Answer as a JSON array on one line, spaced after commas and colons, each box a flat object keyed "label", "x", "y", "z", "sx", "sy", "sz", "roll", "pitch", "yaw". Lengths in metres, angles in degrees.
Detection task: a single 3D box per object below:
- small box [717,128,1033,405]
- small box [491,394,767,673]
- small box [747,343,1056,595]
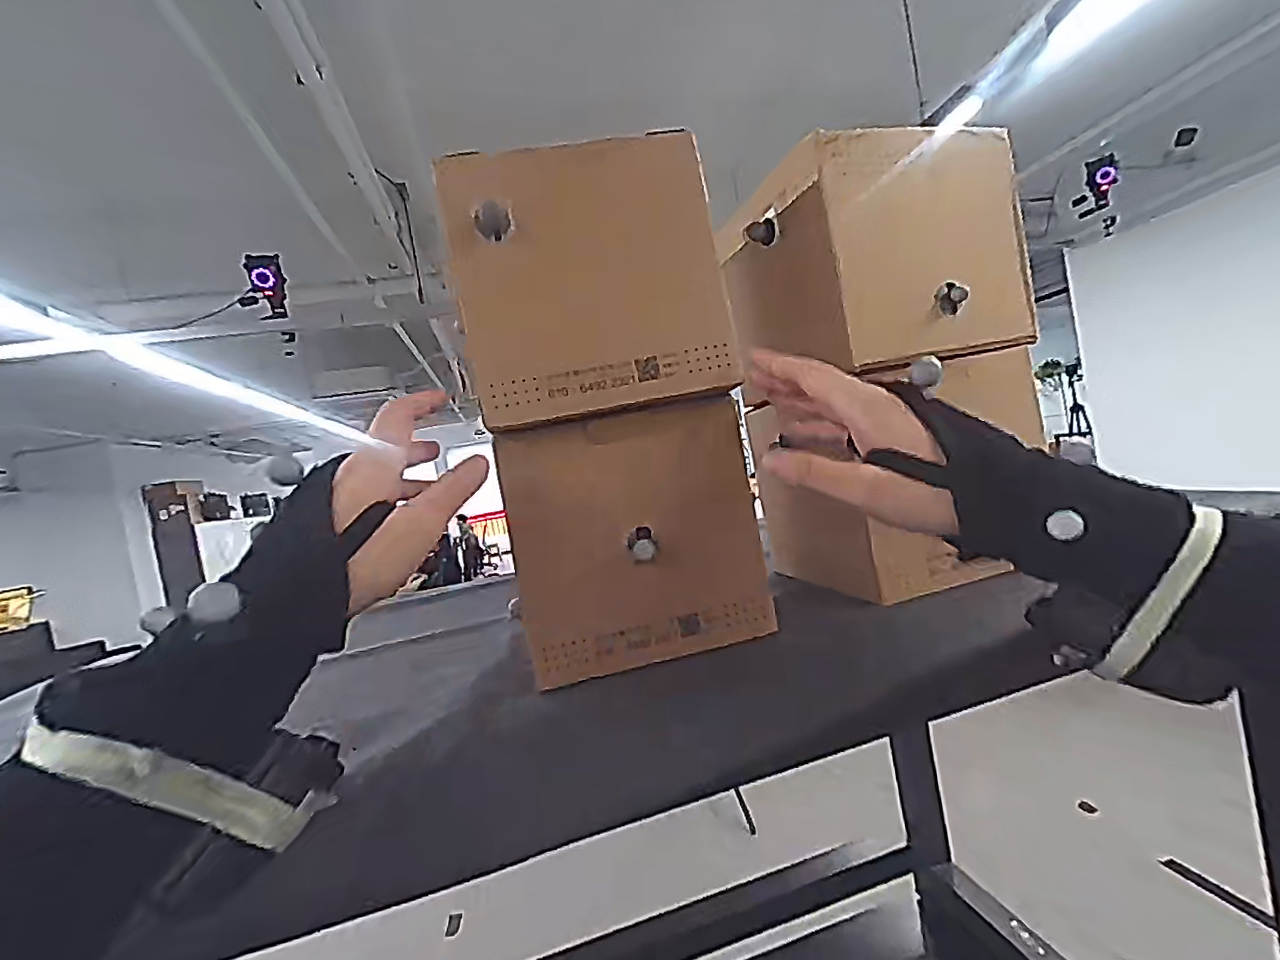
[{"label": "small box", "x": 0.187, "y": -0.171, "z": 0.465, "sx": 0.179, "sy": 0.176, "sz": 0.168, "roll": -10, "pitch": 0, "yaw": -16}, {"label": "small box", "x": -0.013, "y": 0.039, "z": 0.434, "sx": 0.168, "sy": 0.176, "sz": 0.179, "roll": -10, "pitch": 1, "yaw": -9}, {"label": "small box", "x": 0.215, "y": -0.006, "z": 0.480, "sx": 0.168, "sy": 0.176, "sz": 0.179, "roll": -13, "pitch": 1, "yaw": -11}]
